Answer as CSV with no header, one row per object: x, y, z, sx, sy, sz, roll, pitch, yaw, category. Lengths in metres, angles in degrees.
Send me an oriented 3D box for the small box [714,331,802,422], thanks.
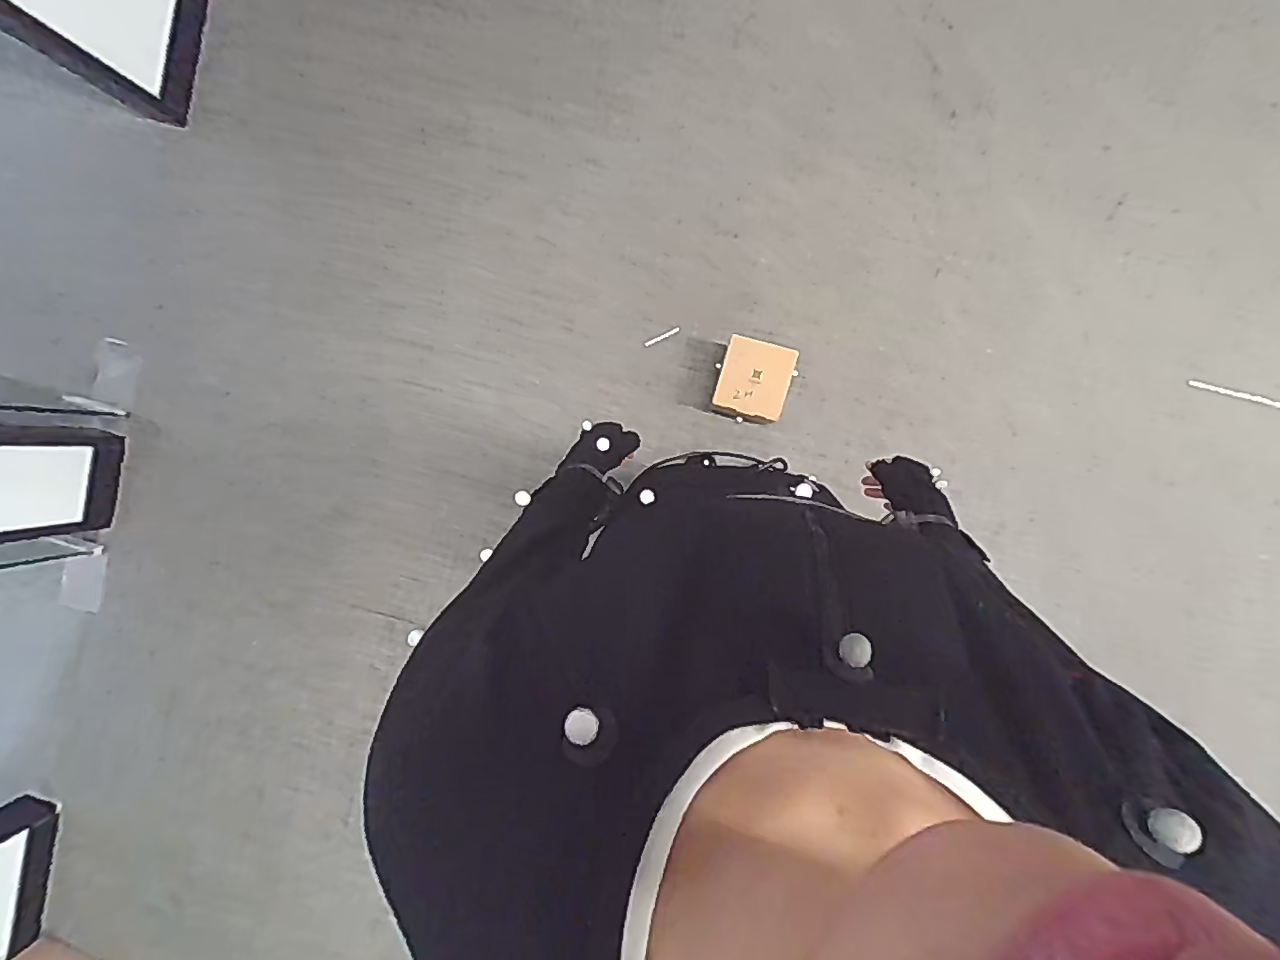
0.288,-0.252,1.357,0.168,0.176,0.179,17,95,4,small box
